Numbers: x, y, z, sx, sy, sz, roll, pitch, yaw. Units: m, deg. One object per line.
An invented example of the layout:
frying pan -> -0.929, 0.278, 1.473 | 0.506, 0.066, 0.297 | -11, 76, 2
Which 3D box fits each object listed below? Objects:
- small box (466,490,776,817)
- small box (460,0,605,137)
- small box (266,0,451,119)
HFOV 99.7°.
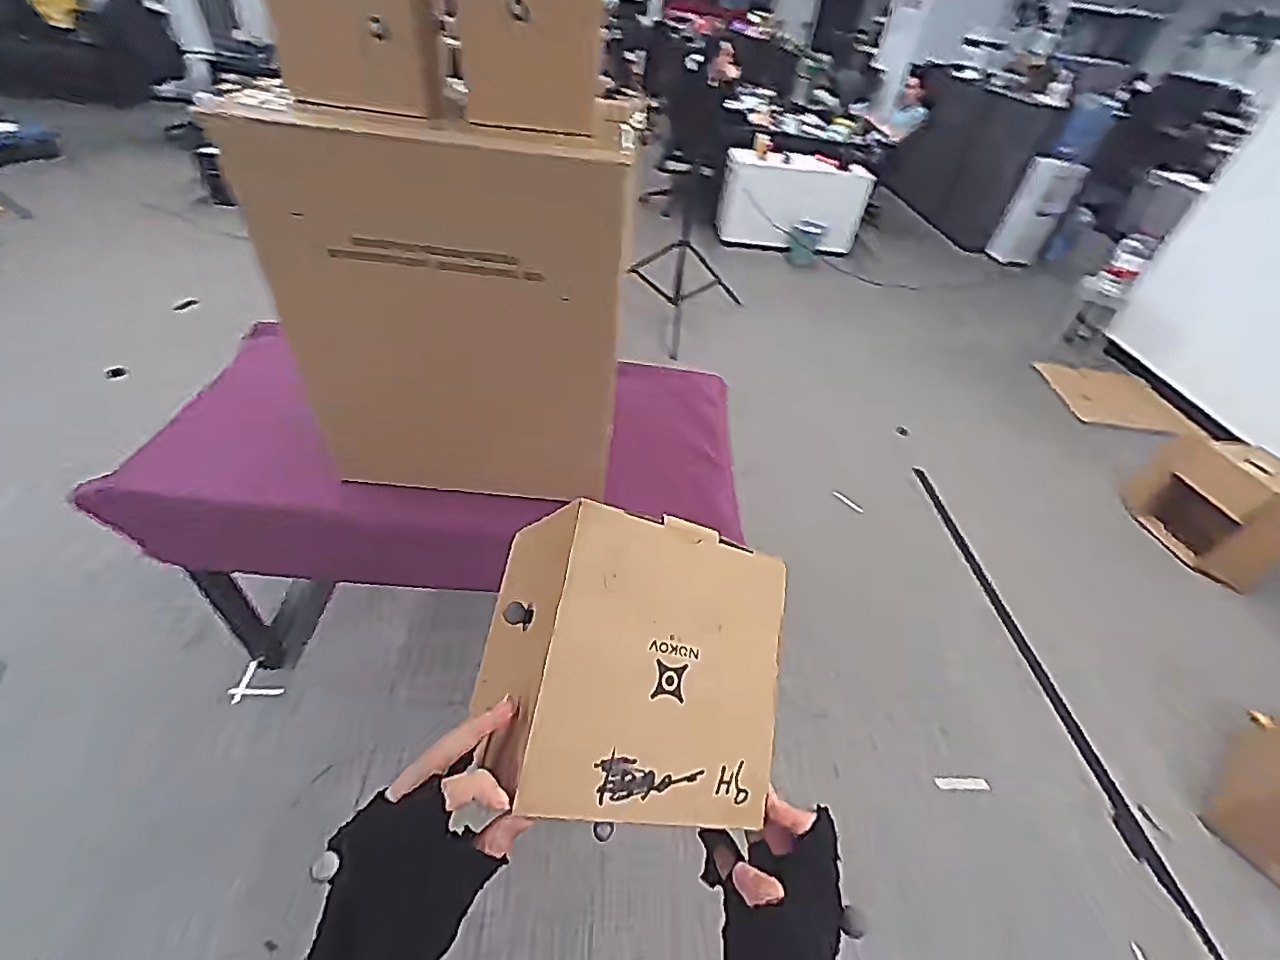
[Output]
small box -> -0.020, 0.128, 0.406 | 0.168, 0.176, 0.179 | 18, 69, -22
small box -> -0.140, -0.587, 0.742 | 0.179, 0.176, 0.168 | 3, 43, -6
small box -> -0.362, -0.598, 0.721 | 0.179, 0.176, 0.168 | 3, 42, -6
